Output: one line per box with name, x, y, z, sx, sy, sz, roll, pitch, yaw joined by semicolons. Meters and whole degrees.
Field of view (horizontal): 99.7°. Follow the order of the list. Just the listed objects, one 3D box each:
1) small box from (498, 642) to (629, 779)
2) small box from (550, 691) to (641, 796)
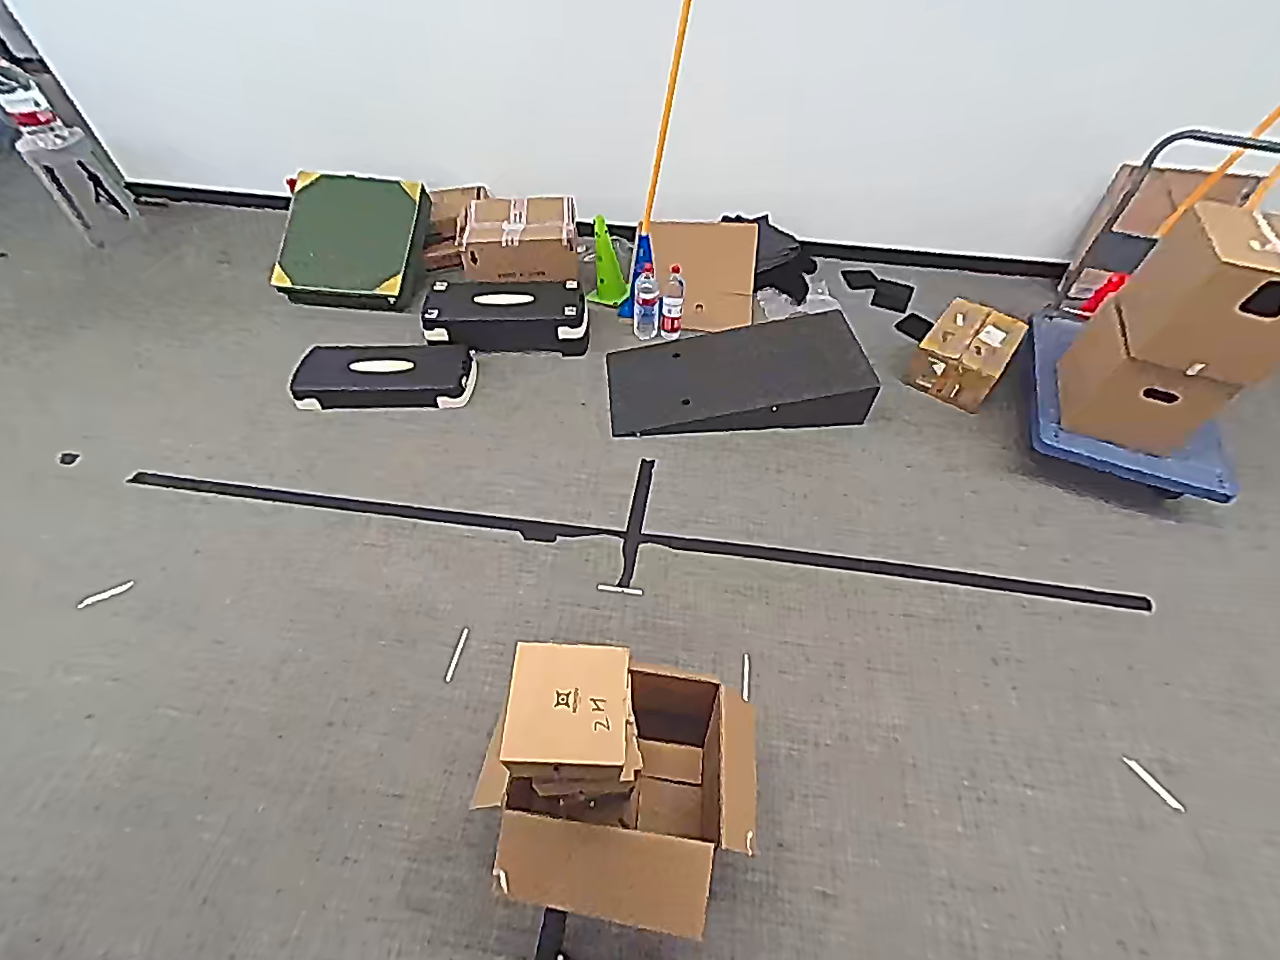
small box;-0.111;0.367;0.851;0.179;0.176;0.168;4;55;-2
small box;-0.103;0.546;1.129;0.179;0.176;0.168;-7;55;-11
